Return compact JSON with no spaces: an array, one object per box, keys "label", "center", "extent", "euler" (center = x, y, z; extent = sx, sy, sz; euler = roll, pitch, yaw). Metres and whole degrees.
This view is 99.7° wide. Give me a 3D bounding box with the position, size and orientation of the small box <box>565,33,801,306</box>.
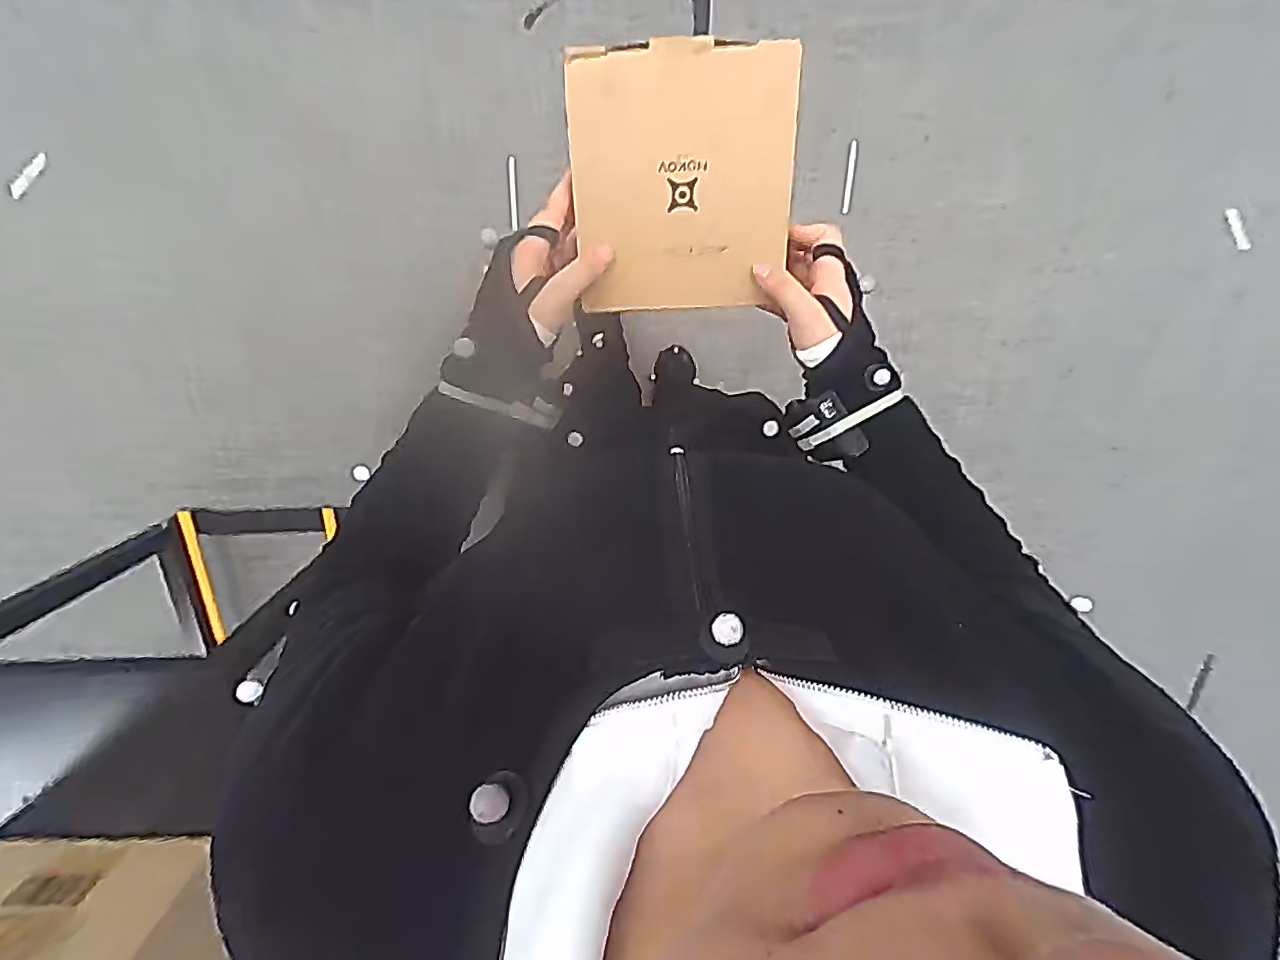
[{"label":"small box","center":[0.029,-0.256,0.473],"extent":[0.168,0.176,0.179],"euler":[-2,117,1]}]
